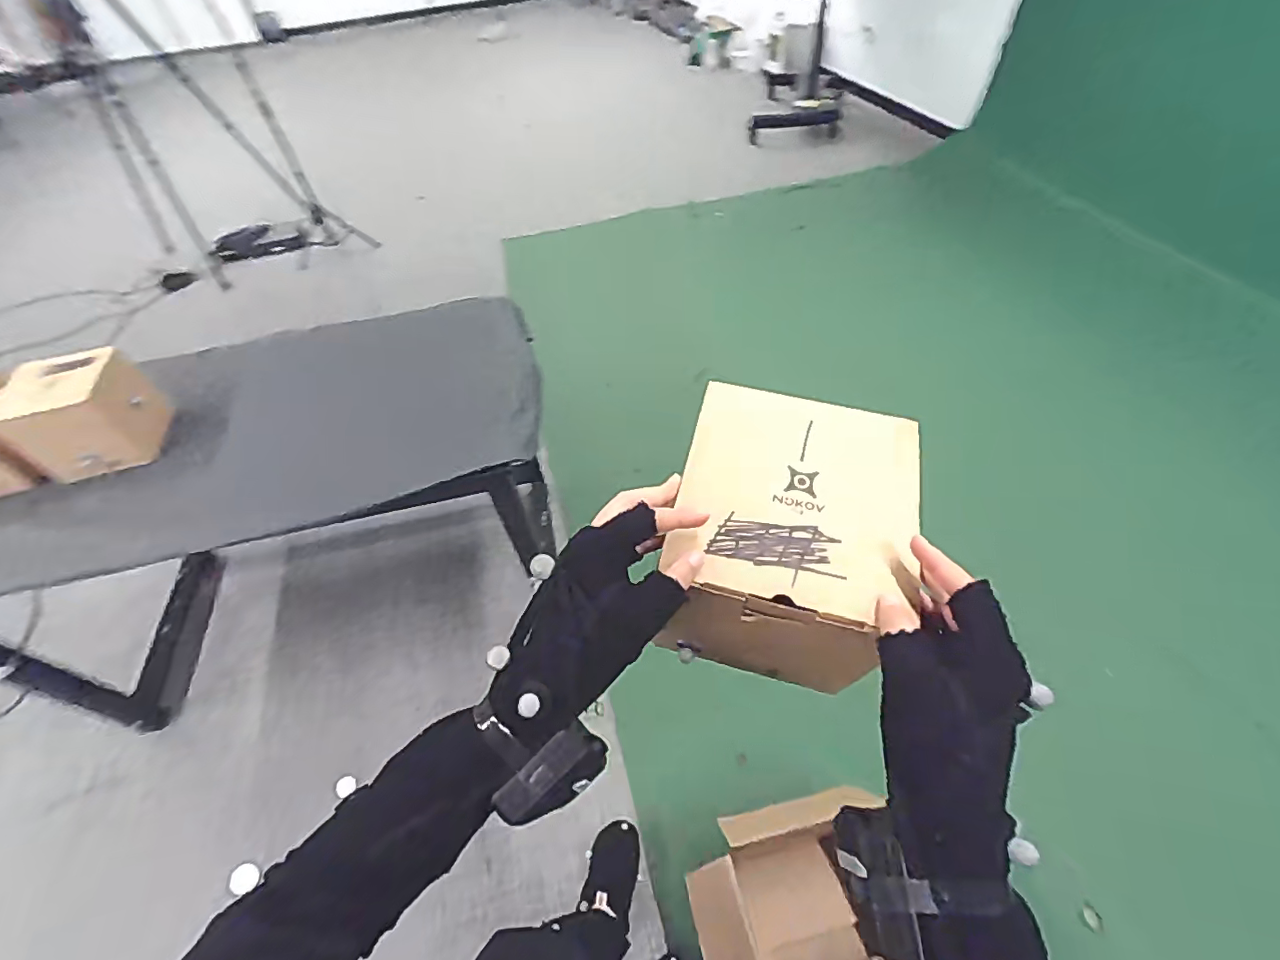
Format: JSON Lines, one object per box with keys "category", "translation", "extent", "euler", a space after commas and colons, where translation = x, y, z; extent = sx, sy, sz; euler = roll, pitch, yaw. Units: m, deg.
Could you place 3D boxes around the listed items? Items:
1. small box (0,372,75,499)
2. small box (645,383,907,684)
{"category": "small box", "translation": [-1.270, -0.078, 1.044], "extent": [0.168, 0.176, 0.179], "euler": [-13, 50, -6]}
{"category": "small box", "translation": [0.105, 0.051, 0.452], "extent": [0.168, 0.176, 0.179], "euler": [13, 57, 8]}
